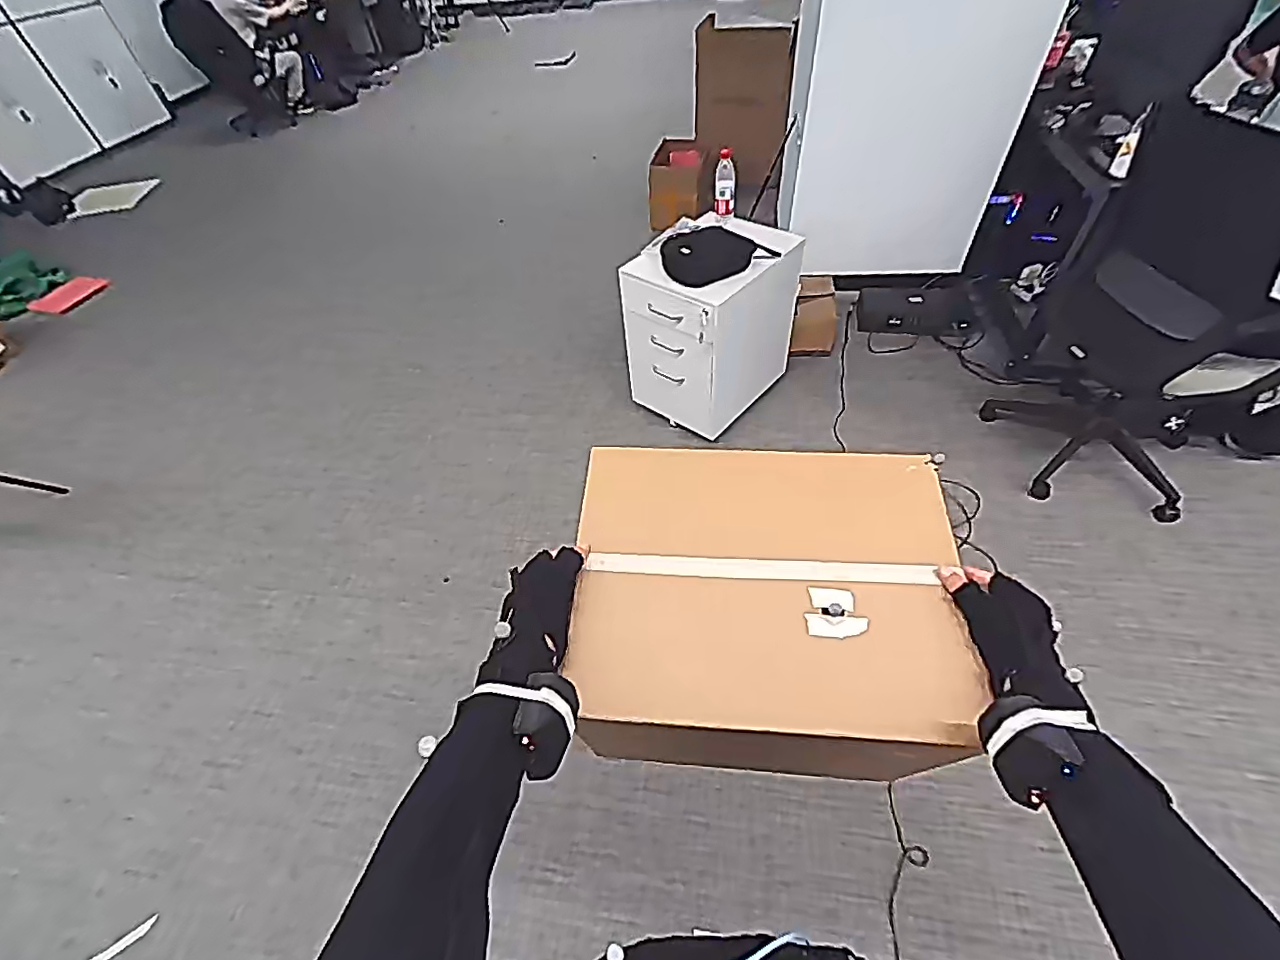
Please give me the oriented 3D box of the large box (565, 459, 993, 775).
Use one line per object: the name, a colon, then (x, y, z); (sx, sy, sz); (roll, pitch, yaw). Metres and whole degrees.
large box: (0.139, 0.187, 0.707); (0.408, 0.320, 0.320); (2, 57, 5)
